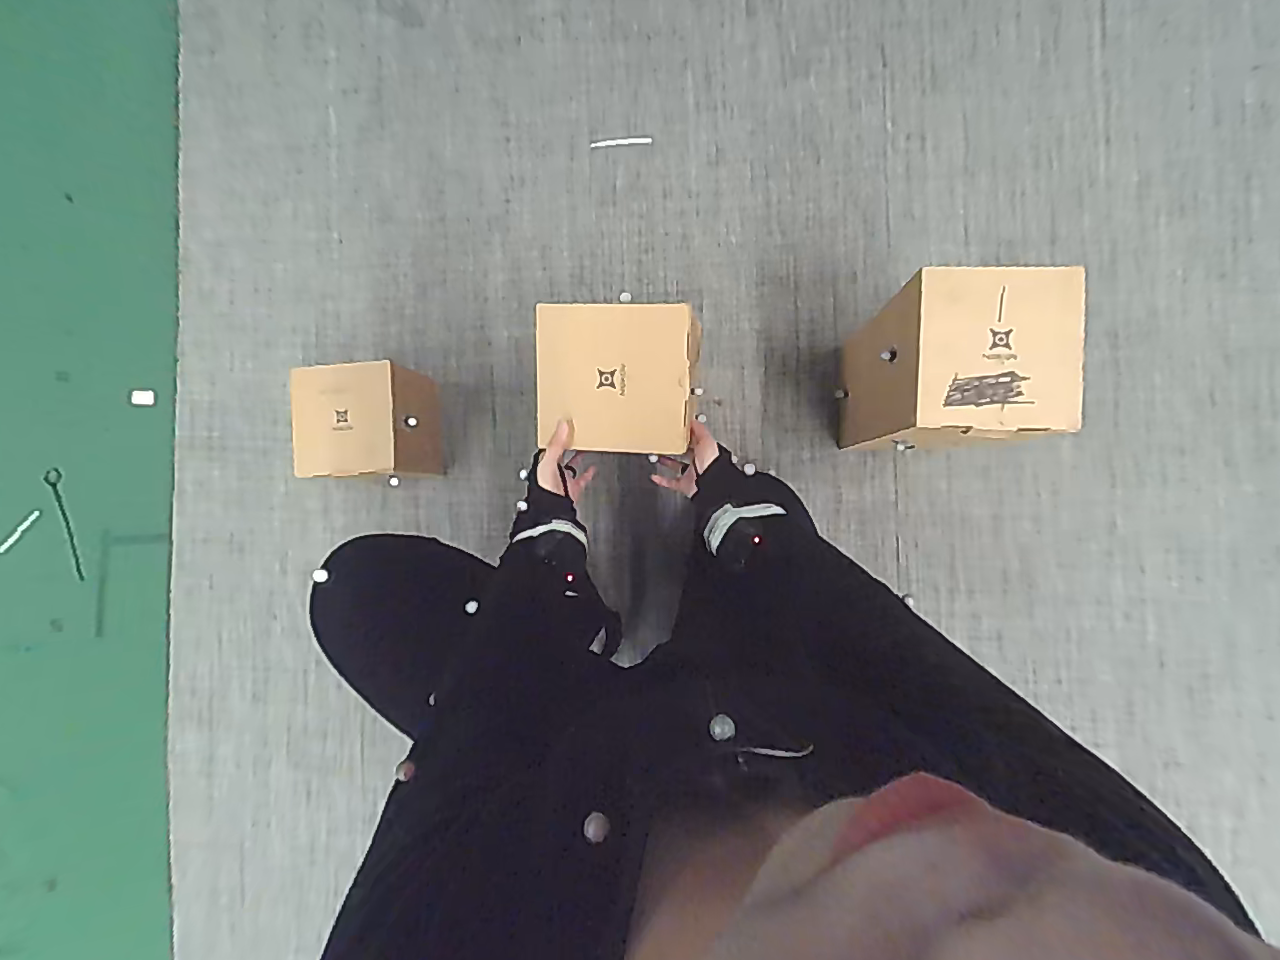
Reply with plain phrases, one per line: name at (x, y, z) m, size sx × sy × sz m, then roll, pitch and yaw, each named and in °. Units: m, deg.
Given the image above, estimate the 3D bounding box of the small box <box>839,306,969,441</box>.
small box at (0.405, -0.150, 0.812) m, size 0.168 × 0.176 × 0.179 m, roll 2°, pitch 90°, yaw 6°

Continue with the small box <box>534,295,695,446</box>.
small box at (-0.024, -0.137, 0.687) m, size 0.179 × 0.176 × 0.168 m, roll 3°, pitch 101°, yaw 7°

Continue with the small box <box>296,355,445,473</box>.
small box at (-0.445, -0.102, 0.915) m, size 0.168 × 0.176 × 0.179 m, roll -3°, pitch 88°, yaw 6°

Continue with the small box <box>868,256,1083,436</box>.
small box at (0.383, -0.148, 0.648) m, size 0.168 × 0.176 × 0.179 m, roll 3°, pitch 88°, yaw 7°
